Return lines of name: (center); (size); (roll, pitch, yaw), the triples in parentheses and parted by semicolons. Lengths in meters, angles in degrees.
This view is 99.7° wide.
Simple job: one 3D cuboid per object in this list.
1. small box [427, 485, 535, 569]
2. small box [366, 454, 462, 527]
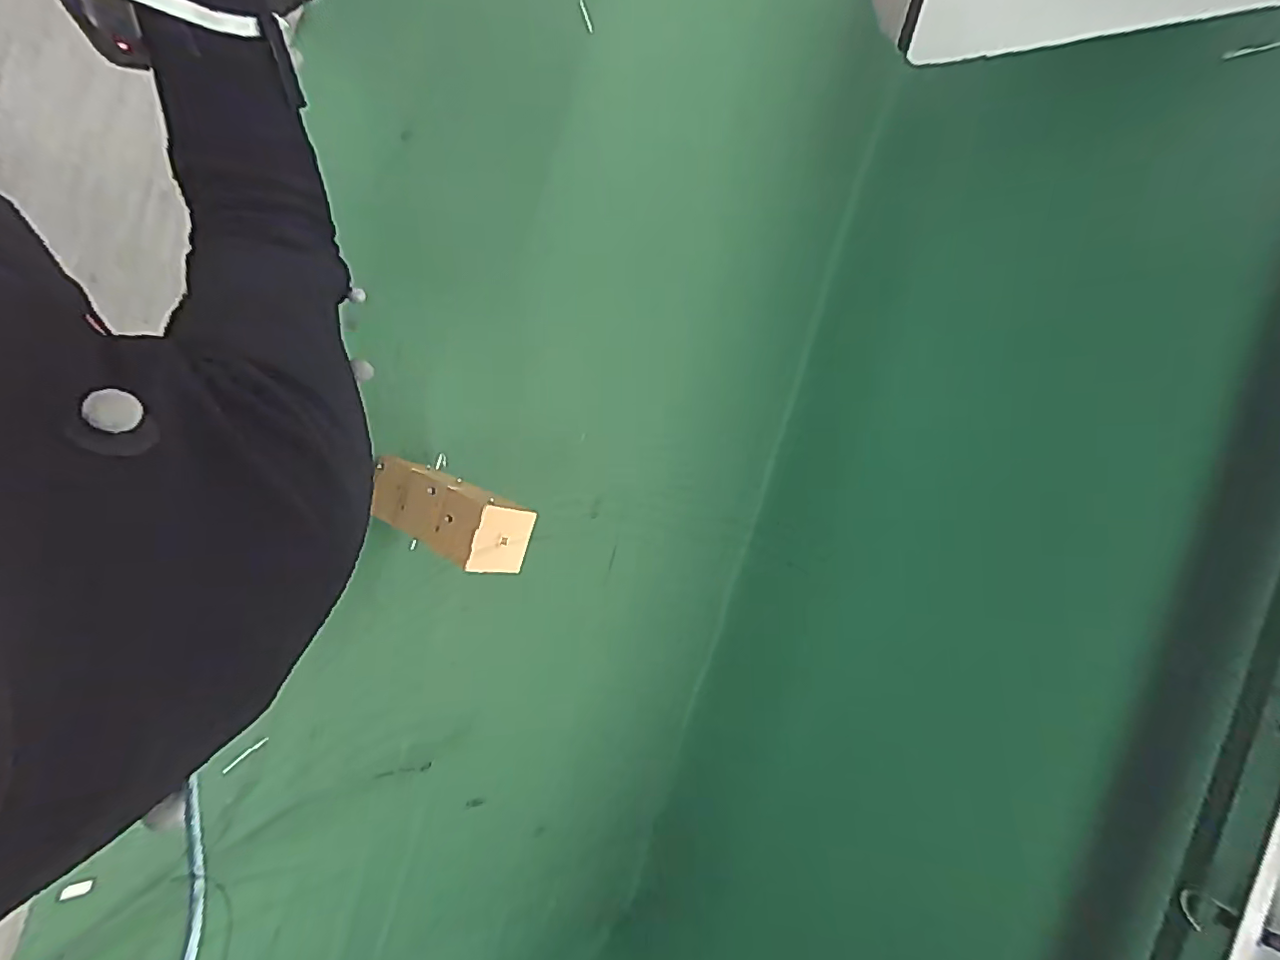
small box: (-0.407, 0.121, 1.383); (0.179, 0.176, 0.168); (16, 93, -55)
small box: (-0.660, 0.030, 1.570); (0.179, 0.176, 0.168); (20, 89, -55)
